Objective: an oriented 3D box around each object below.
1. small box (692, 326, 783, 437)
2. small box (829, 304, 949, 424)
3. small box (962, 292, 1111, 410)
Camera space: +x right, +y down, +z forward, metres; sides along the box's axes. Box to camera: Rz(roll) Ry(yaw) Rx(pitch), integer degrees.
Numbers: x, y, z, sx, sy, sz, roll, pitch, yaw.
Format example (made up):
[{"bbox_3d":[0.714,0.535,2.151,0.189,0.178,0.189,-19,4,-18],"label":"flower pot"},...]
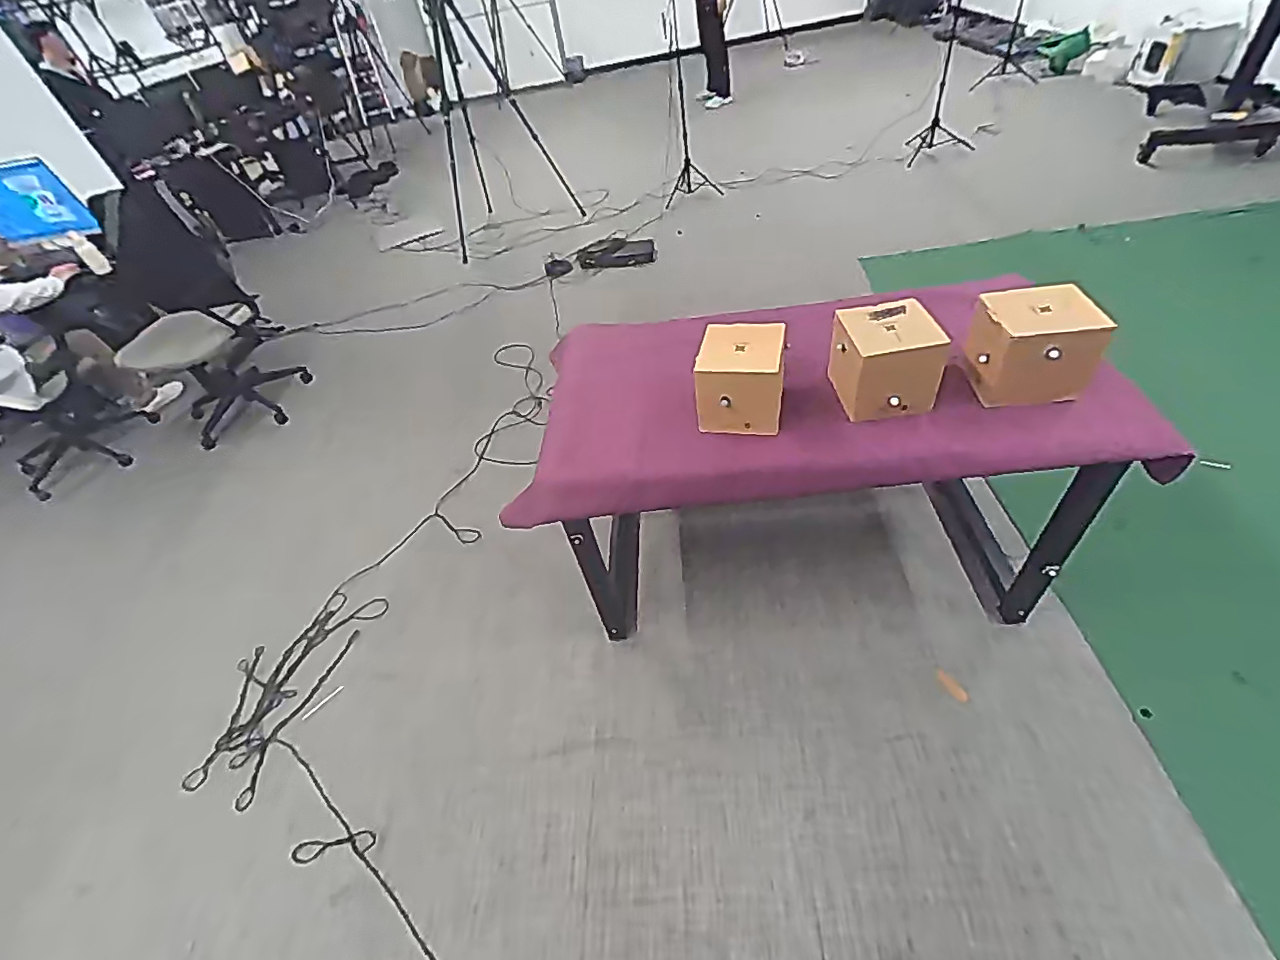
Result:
[{"bbox_3d":[0.215,-0.209,1.156,0.168,0.176,0.179,5,46,17],"label":"small box"},{"bbox_3d":[0.502,-0.239,1.123,0.168,0.176,0.179,-8,46,5],"label":"small box"},{"bbox_3d":[0.769,-0.253,1.079,0.179,0.176,0.168,-3,45,10],"label":"small box"}]
